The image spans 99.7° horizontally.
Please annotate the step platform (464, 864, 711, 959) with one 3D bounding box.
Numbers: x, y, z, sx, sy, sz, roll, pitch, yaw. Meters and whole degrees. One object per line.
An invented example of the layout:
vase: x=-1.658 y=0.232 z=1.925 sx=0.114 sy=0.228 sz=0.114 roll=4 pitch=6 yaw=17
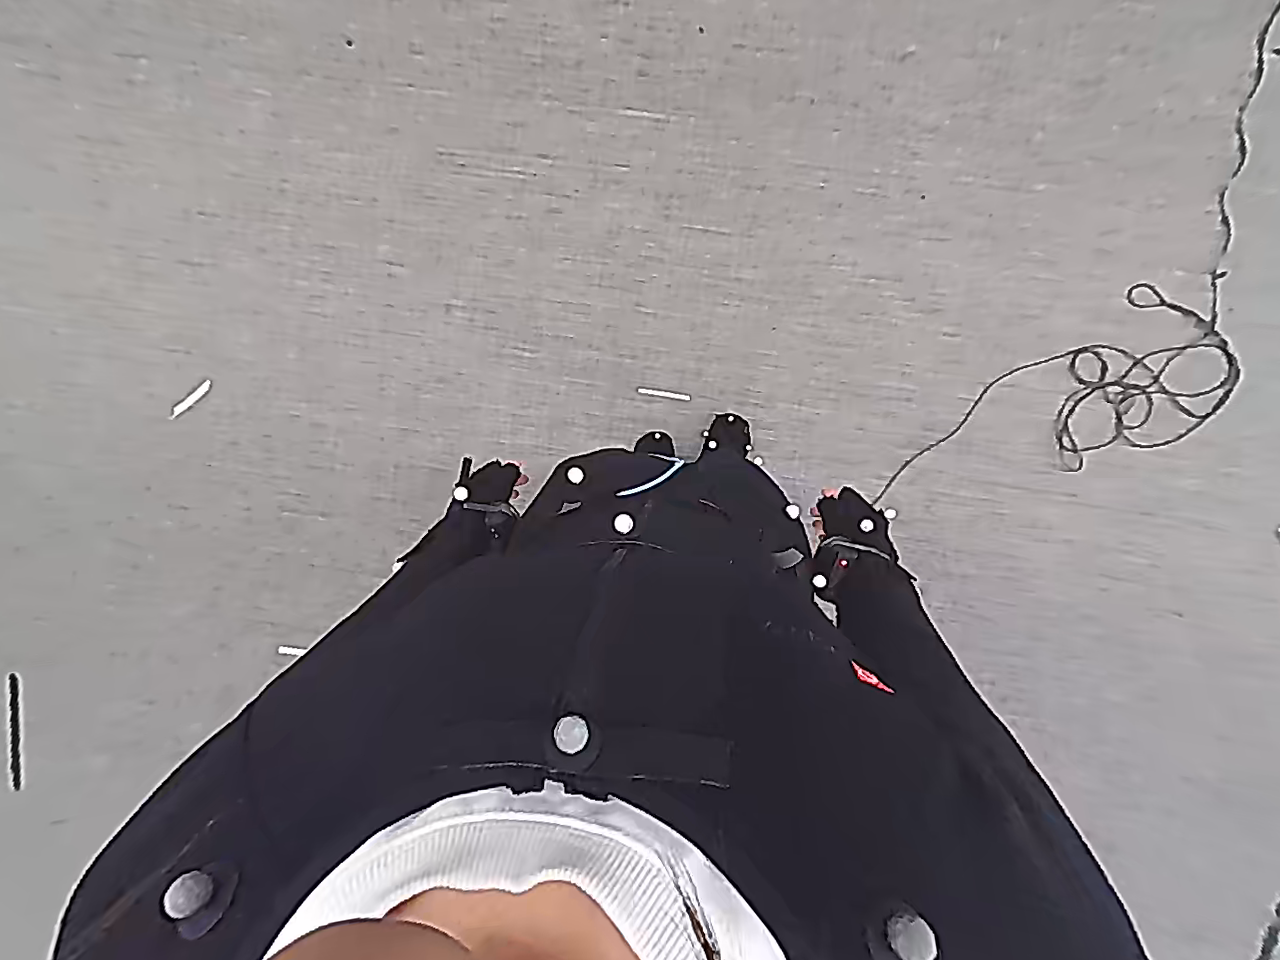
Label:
step platform: x=-0.144 y=1.334 z=1.524 sx=0.684 sy=0.204 sz=0.286 roll=8 pitch=97 yaw=4
